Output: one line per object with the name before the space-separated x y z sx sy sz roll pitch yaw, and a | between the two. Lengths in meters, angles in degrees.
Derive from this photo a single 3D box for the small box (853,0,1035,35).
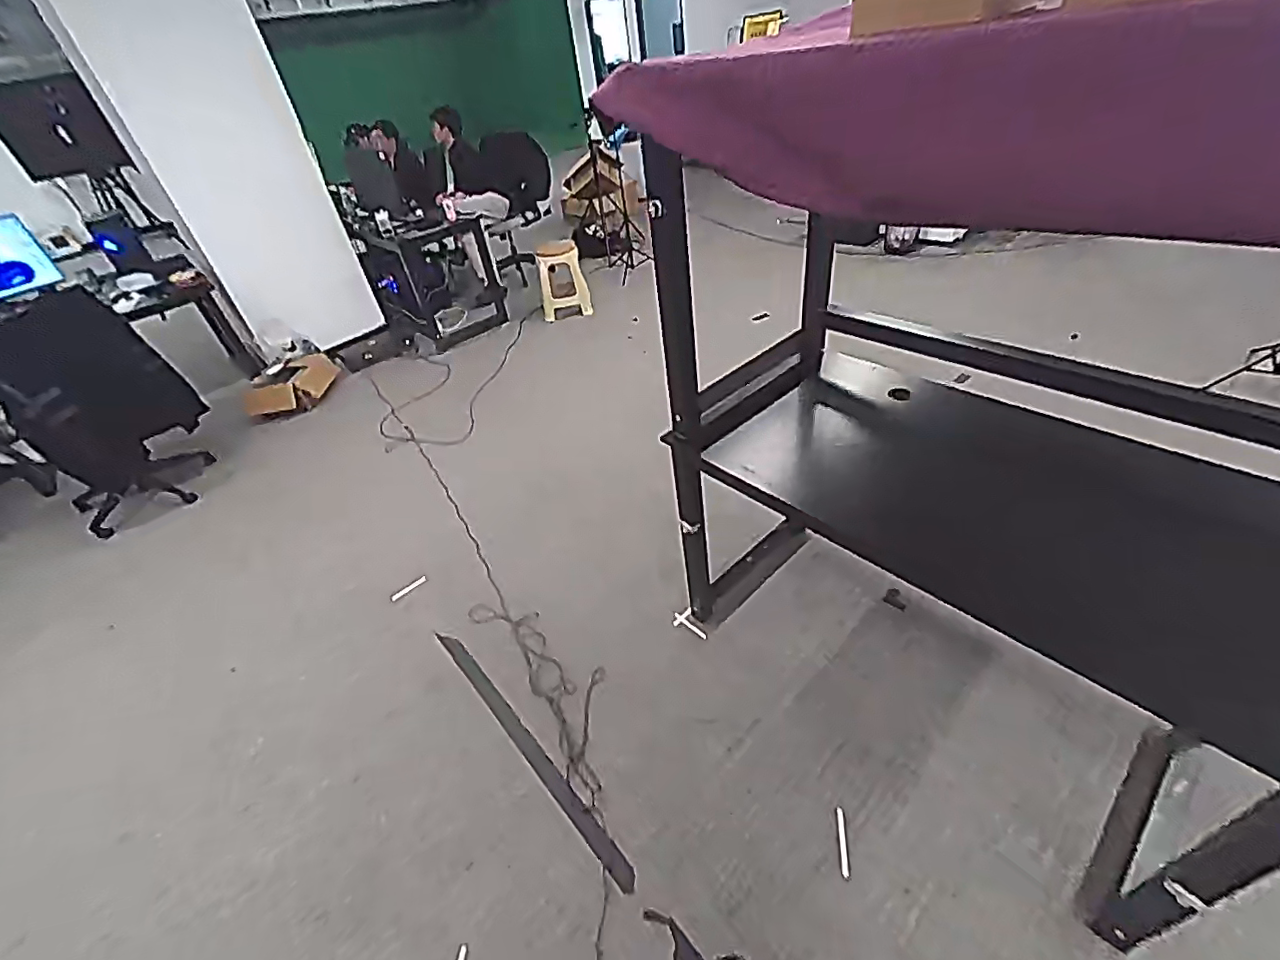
small box | 0.386 -0.666 0.656 0.168 0.176 0.179 -34 44 -28
